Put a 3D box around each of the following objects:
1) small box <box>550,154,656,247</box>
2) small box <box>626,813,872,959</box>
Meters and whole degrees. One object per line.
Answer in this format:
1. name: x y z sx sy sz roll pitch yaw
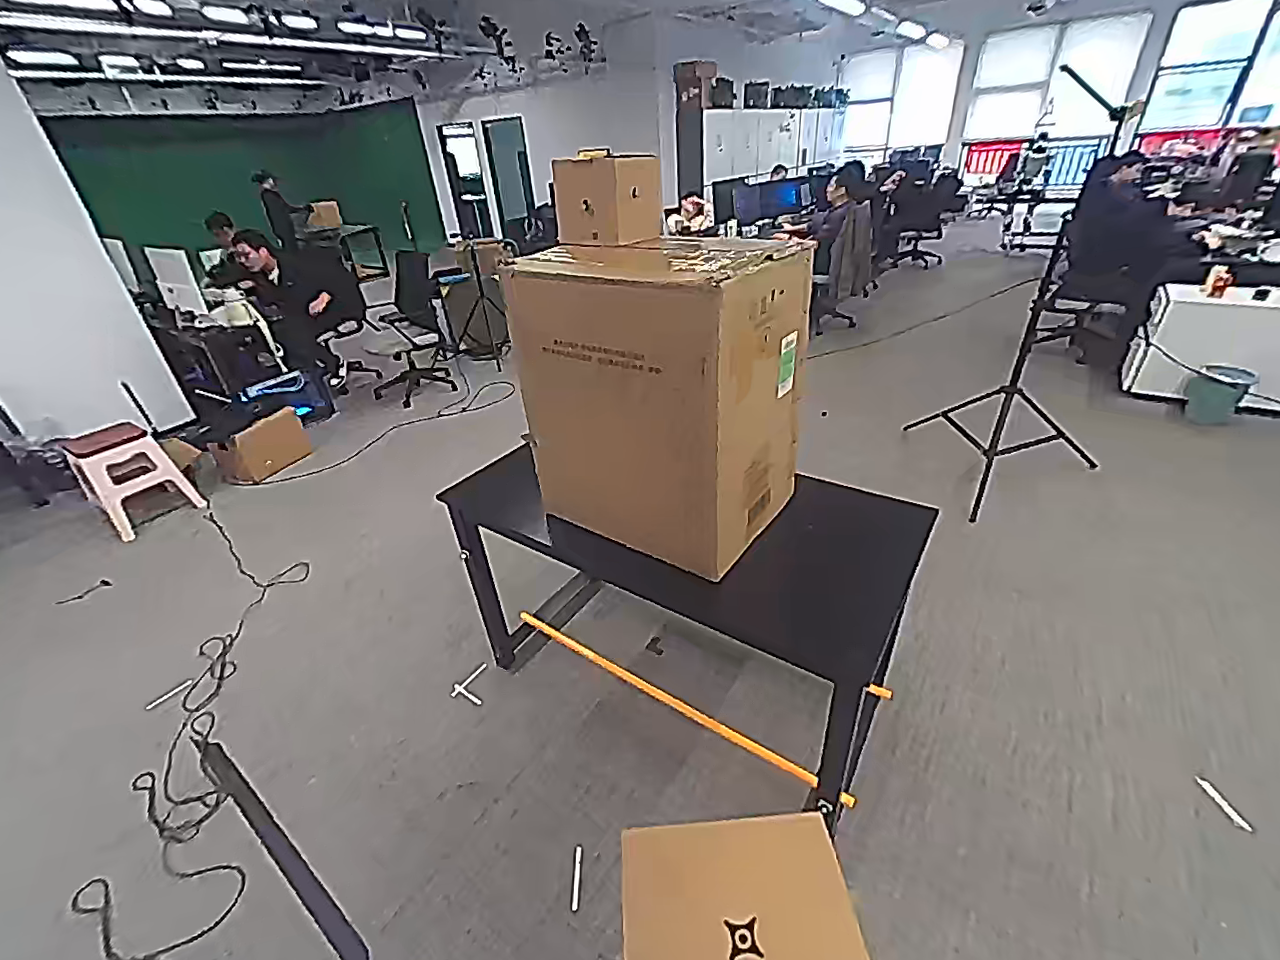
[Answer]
1. small box: -0.072 -0.619 1.200 0.168 0.176 0.179 16 35 28
2. small box: 0.076 0.387 0.403 0.168 0.176 0.179 -5 31 0
